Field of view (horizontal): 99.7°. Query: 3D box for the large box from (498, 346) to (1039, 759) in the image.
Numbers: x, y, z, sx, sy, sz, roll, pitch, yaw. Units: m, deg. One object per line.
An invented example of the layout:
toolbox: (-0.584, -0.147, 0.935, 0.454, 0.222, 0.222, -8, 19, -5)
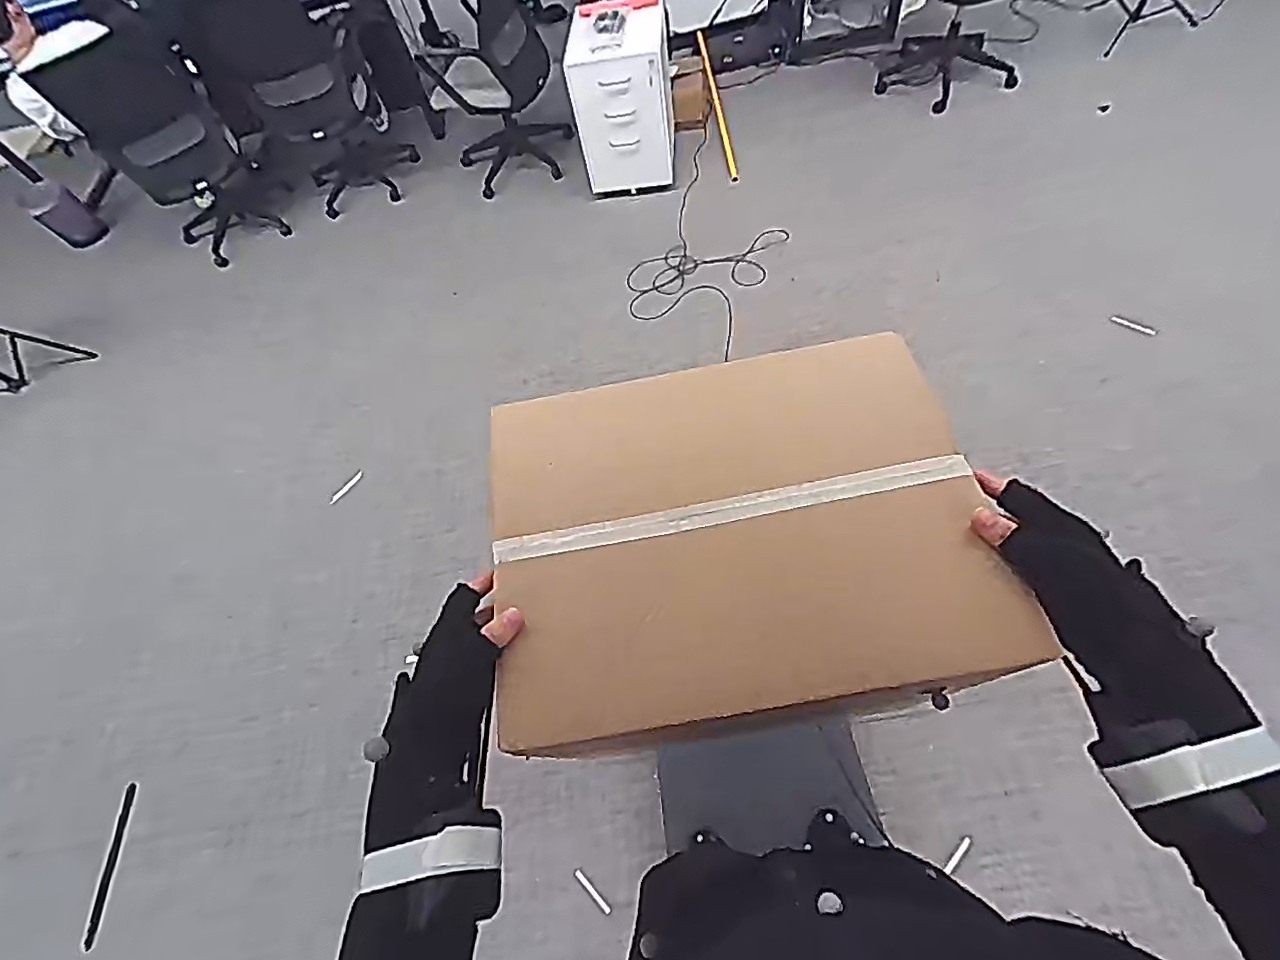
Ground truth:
large box: (0.093, 0.104, 0.597, 0.408, 0.320, 0.320, -11, 61, 1)
